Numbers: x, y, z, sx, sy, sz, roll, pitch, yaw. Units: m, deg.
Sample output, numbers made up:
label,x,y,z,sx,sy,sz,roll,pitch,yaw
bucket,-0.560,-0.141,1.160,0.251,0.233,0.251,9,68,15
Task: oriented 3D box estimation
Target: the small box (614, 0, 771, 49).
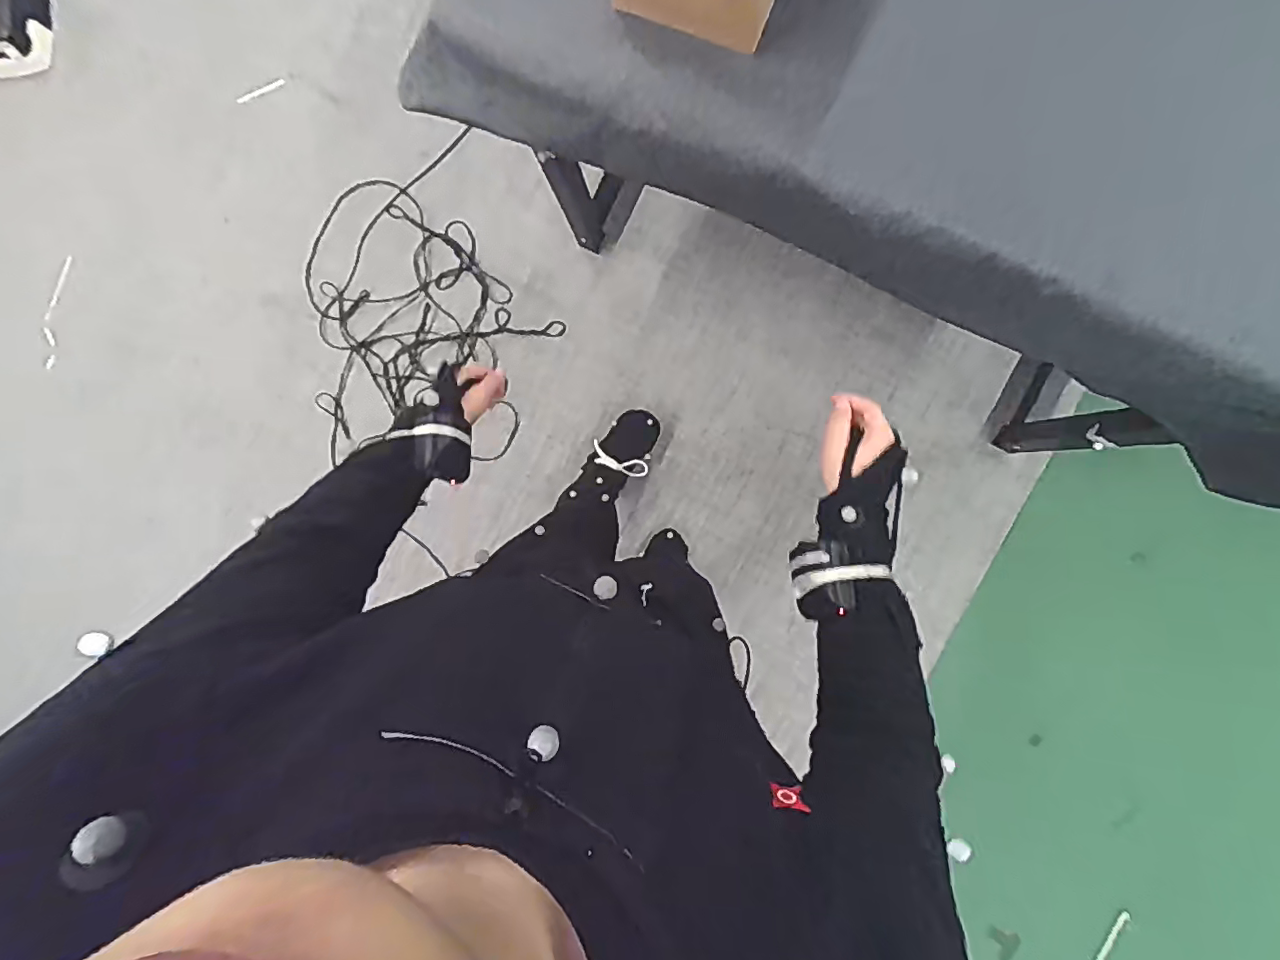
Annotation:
label,x,y,z,sx,sy,sz,roll,pitch,yaw
small box,0.071,-0.585,0.536,0.179,0.176,0.168,22,91,4
